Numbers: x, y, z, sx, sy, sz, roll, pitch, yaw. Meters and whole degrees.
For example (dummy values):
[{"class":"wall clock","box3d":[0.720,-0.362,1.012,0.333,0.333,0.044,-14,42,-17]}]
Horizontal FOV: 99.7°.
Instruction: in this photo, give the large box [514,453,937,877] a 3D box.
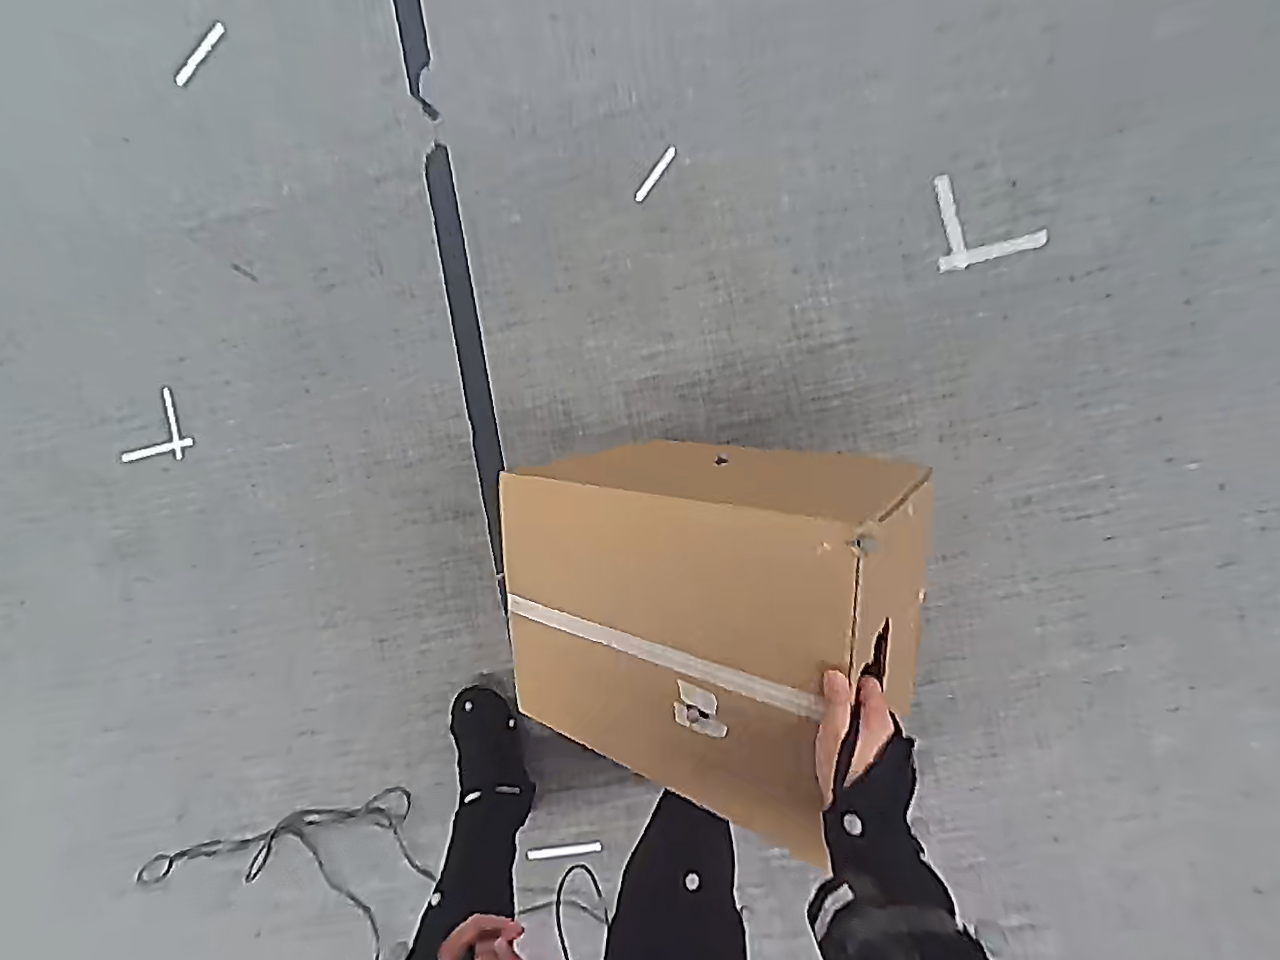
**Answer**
[{"class":"large box","box3d":[0.103,0.144,0.656,0.408,0.320,0.320,7,105,35]}]
